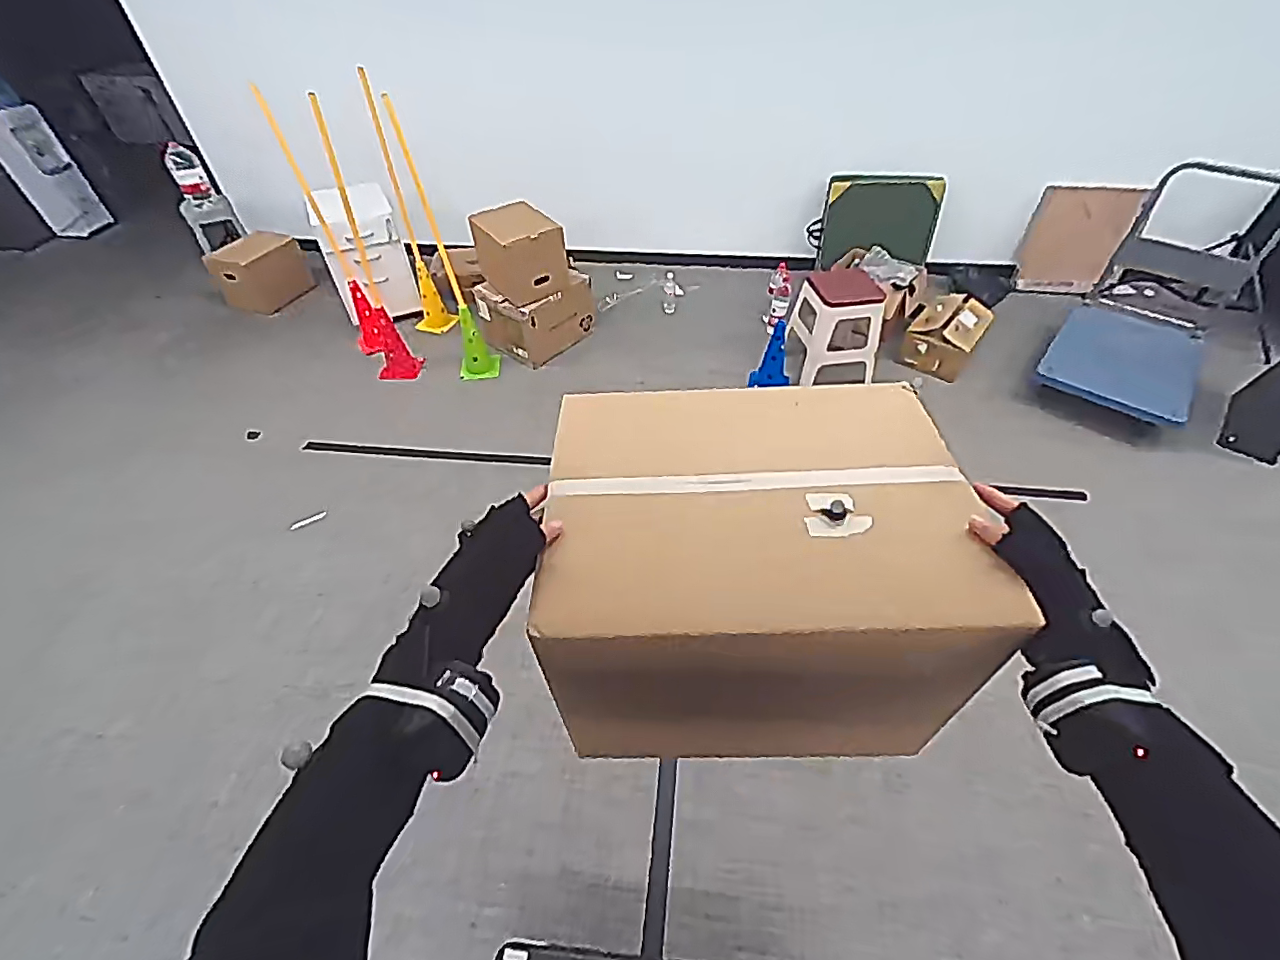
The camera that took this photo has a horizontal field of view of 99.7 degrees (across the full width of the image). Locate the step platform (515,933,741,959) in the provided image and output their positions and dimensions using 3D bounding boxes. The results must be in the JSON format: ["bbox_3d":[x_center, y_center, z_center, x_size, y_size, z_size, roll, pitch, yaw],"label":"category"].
[{"bbox_3d":[0.050,1.141,1.097,0.684,0.204,0.286,4,47,3],"label":"step platform"}]

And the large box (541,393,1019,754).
[{"bbox_3d":[0.116,0.115,0.652,0.408,0.320,0.320,-1,47,2],"label":"large box"}]
